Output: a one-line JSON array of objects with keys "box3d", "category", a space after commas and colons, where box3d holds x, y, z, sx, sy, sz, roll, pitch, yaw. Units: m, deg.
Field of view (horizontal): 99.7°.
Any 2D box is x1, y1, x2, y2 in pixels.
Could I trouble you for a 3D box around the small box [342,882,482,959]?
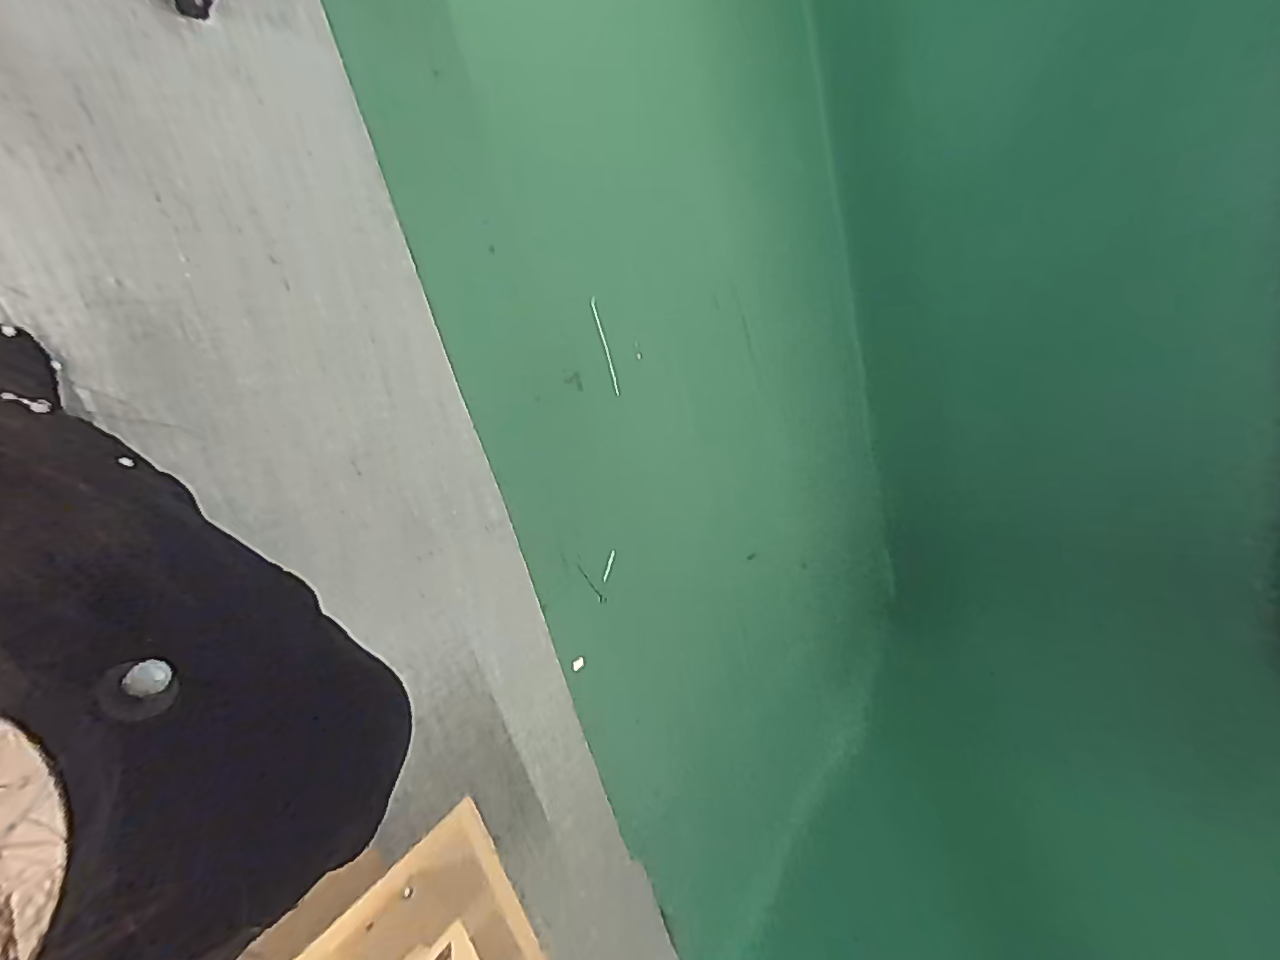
[{"box3d": [-0.404, 0.878, 0.975, 0.168, 0.176, 0.179, -30, 112, -43], "category": "small box"}]
